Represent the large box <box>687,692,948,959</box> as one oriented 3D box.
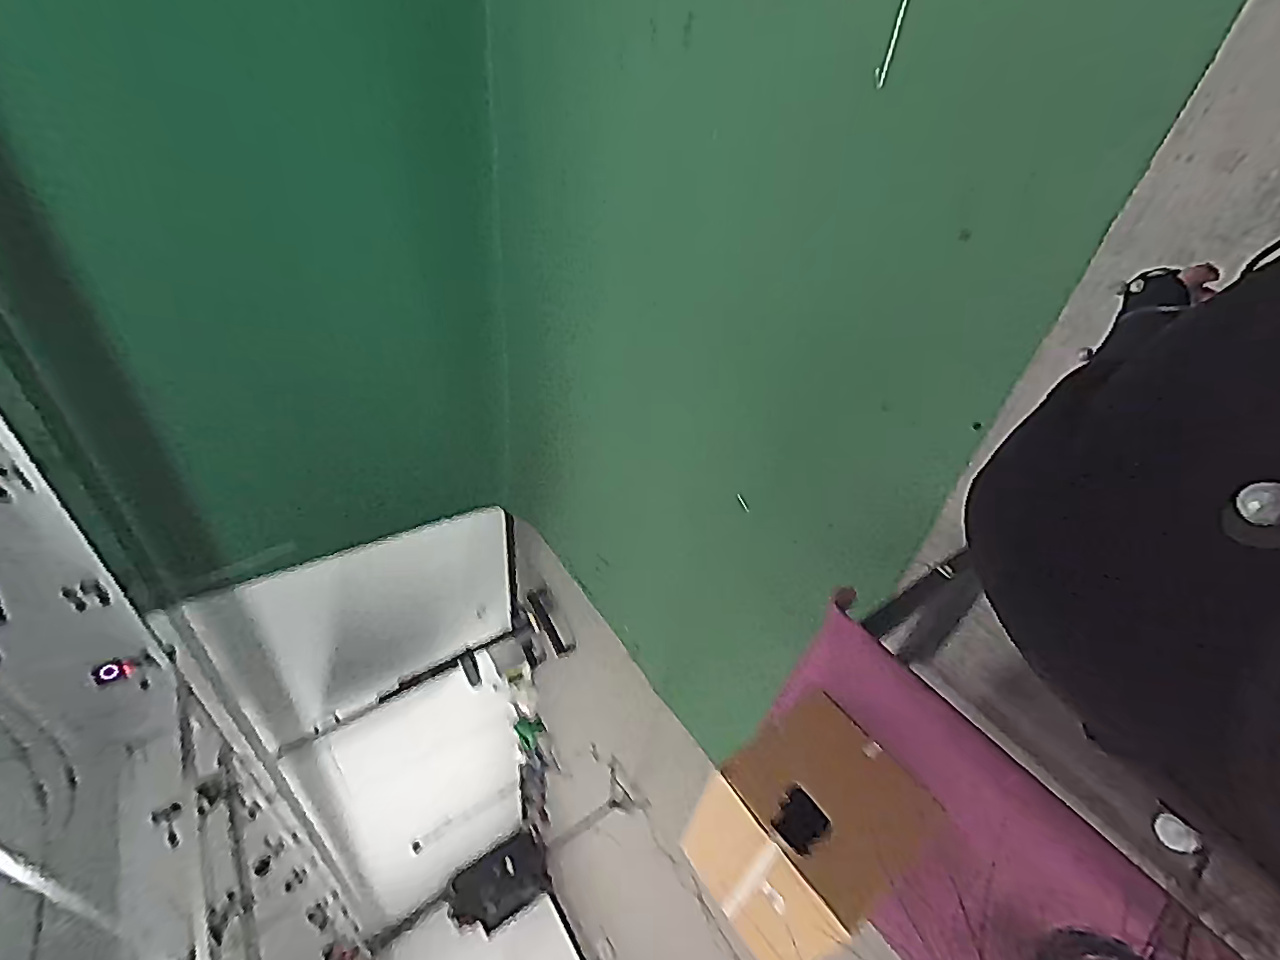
[{"bbox_3d":[0.338,0.729,1.110,0.320,0.320,0.408,41,137,36],"label":"large box"}]
